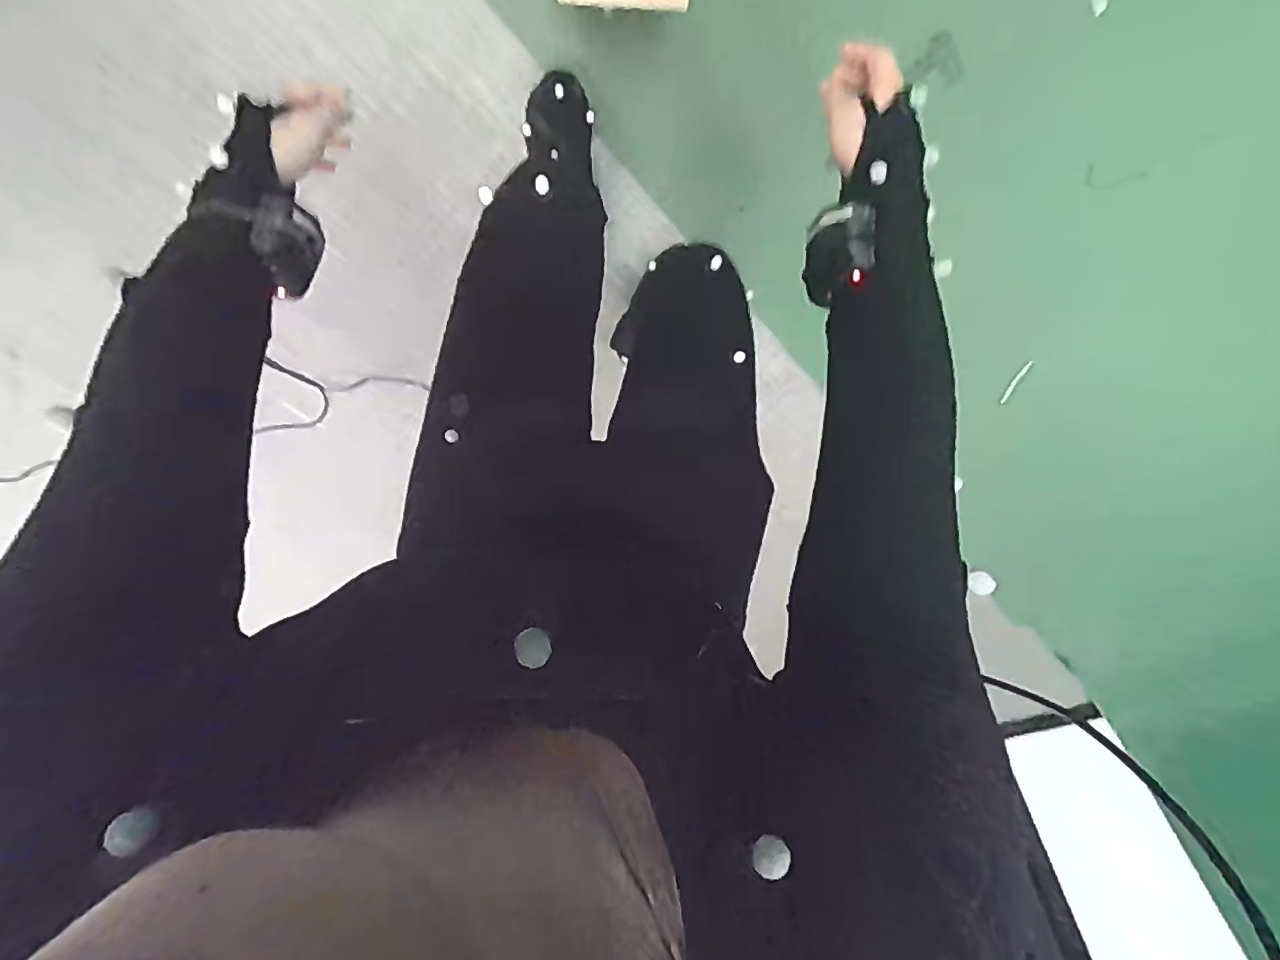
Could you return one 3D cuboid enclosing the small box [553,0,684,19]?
[{"bbox_3d":[-0.019,-0.699,0.669,0.168,0.176,0.179,3,135,-1],"label":"small box"}]
